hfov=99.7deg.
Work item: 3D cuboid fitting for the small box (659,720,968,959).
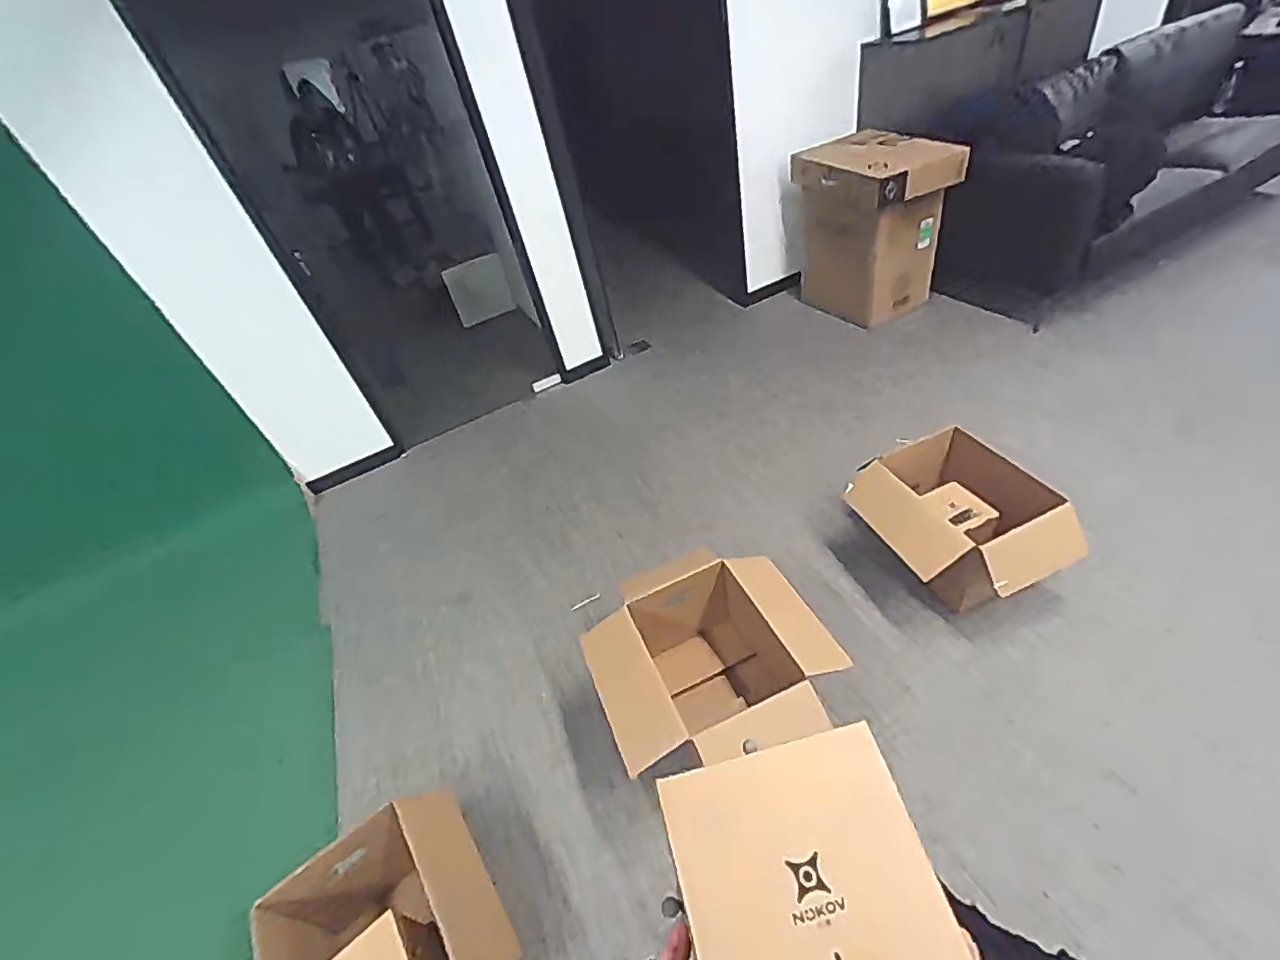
[{"bbox_3d":[0.112,0.311,0.421,0.168,0.176,0.179,-13,58,-5],"label":"small box"}]
